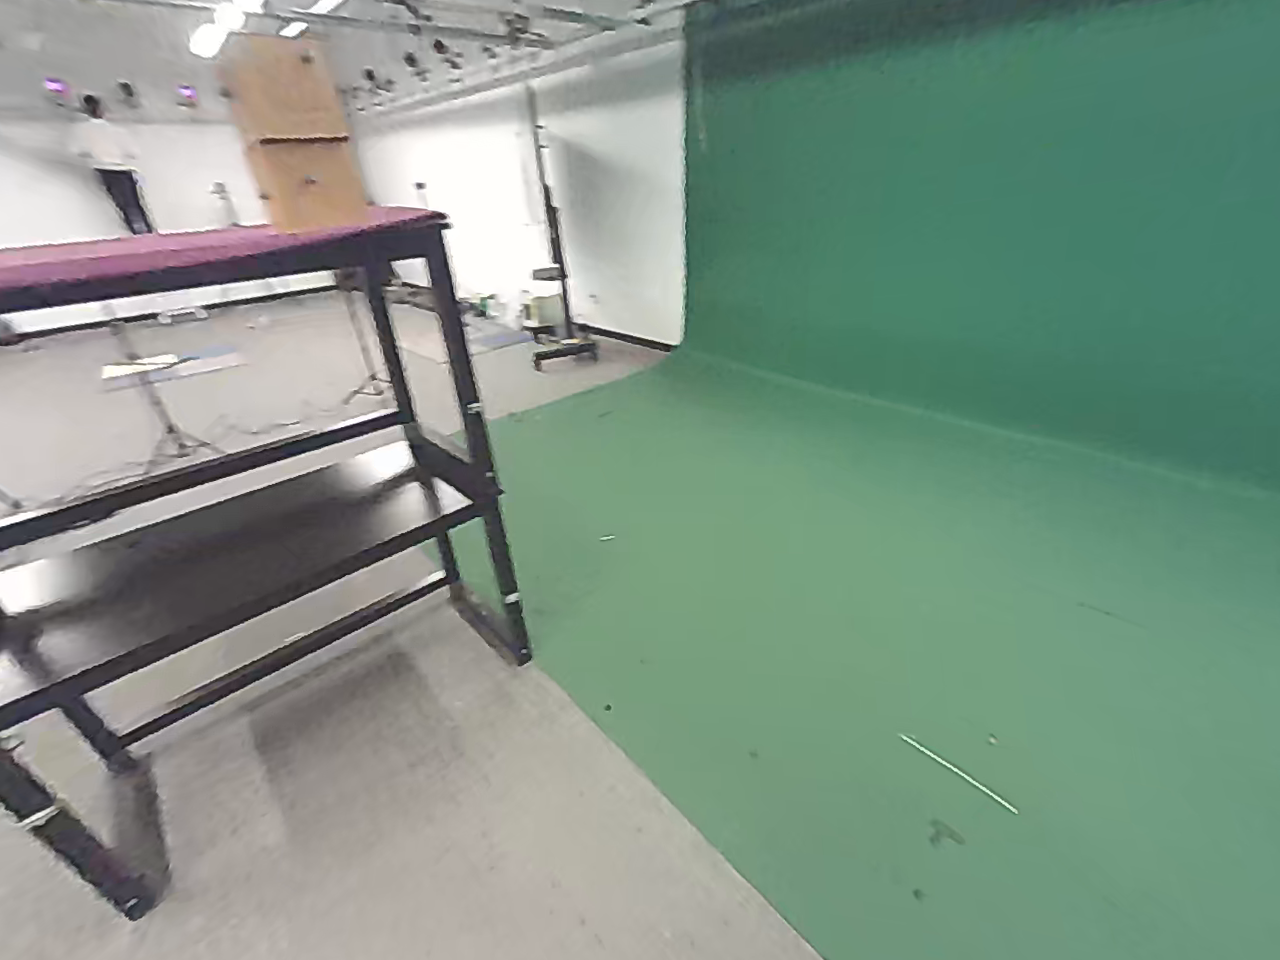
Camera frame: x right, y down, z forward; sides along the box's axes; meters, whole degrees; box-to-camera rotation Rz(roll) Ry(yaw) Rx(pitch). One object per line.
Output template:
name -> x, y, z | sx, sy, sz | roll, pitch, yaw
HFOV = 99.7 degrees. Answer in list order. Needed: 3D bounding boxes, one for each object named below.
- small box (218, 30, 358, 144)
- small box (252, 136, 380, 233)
small box -> -0.710, -0.781, 1.098 | 0.179, 0.176, 0.168 | -27, 35, -34
small box -> -0.705, -0.642, 1.185 | 0.179, 0.176, 0.168 | -28, 36, -33
